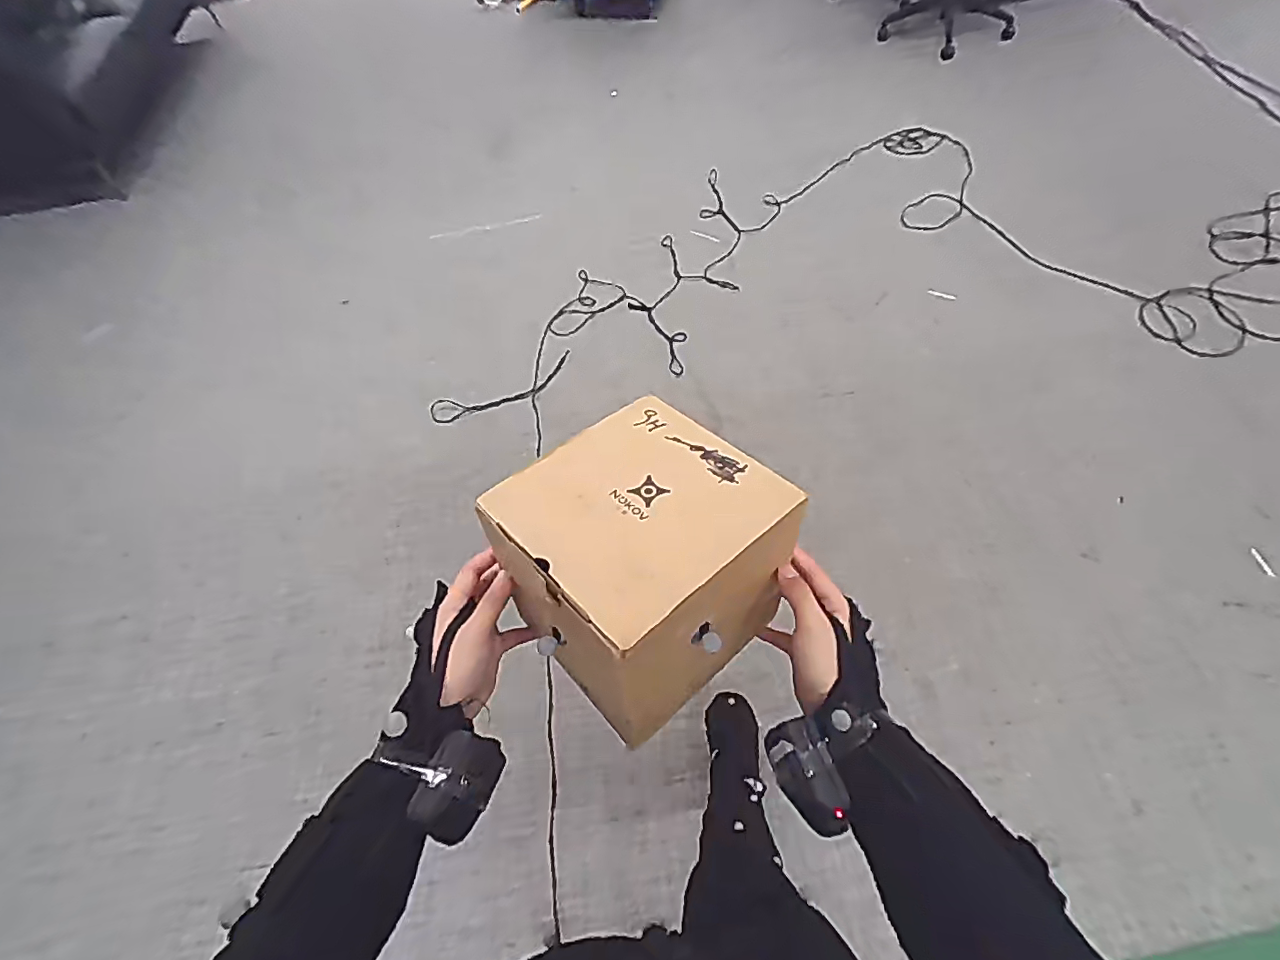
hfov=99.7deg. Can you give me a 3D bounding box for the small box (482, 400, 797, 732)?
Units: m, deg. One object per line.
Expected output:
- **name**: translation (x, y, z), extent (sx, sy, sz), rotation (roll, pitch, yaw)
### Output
- **small box**: translation (0.003, 0.070, 0.451), extent (0.179, 0.176, 0.168), rotation (-35, 54, -26)
